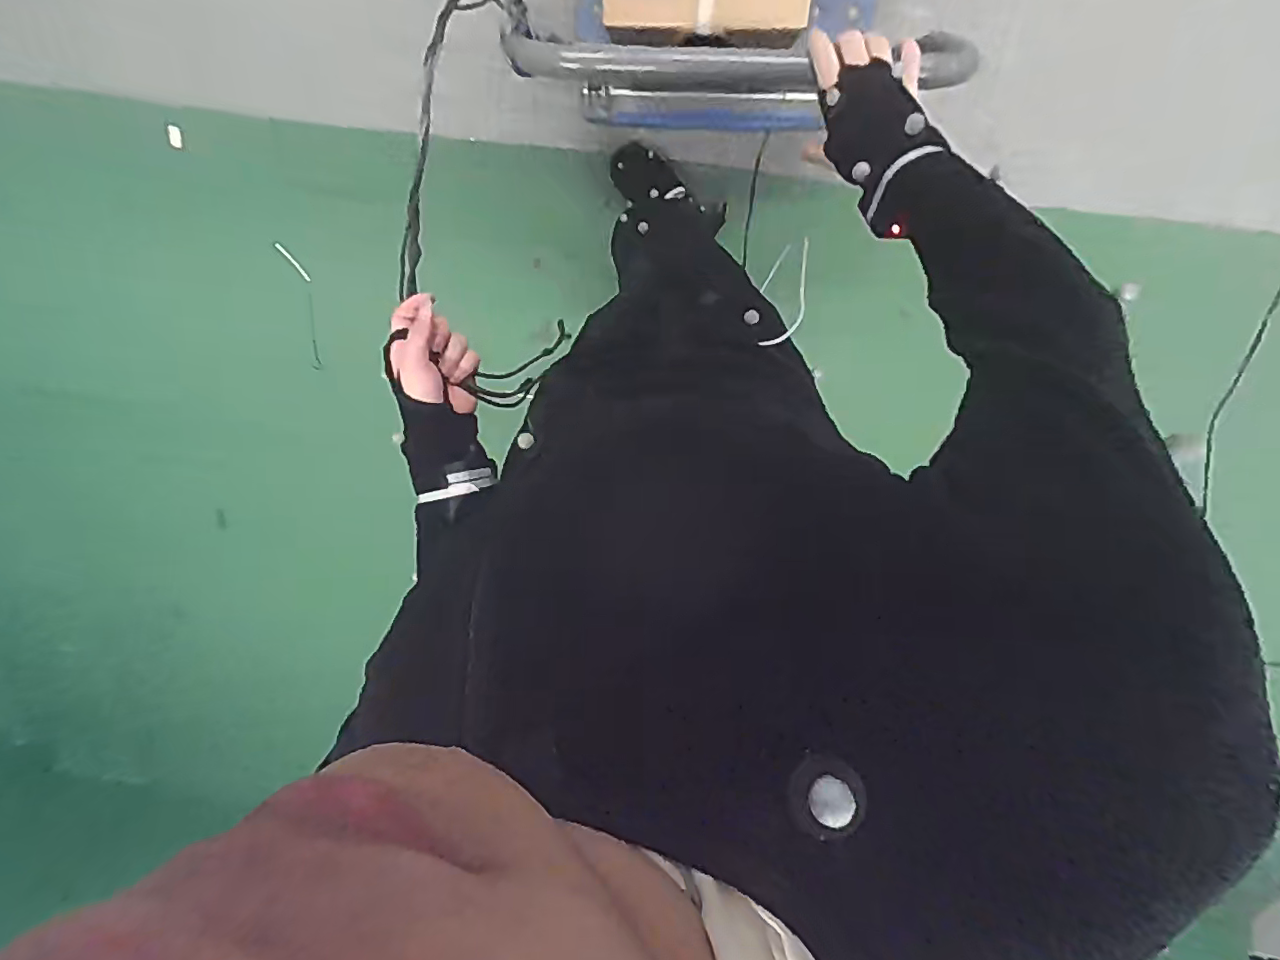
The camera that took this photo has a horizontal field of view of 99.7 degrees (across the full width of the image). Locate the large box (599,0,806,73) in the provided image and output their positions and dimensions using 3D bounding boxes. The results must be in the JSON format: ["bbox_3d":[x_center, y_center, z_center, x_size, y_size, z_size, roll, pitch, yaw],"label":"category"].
[{"bbox_3d":[0.111,-0.931,0.870,0.320,0.320,0.408,4,117,3],"label":"large box"}]
